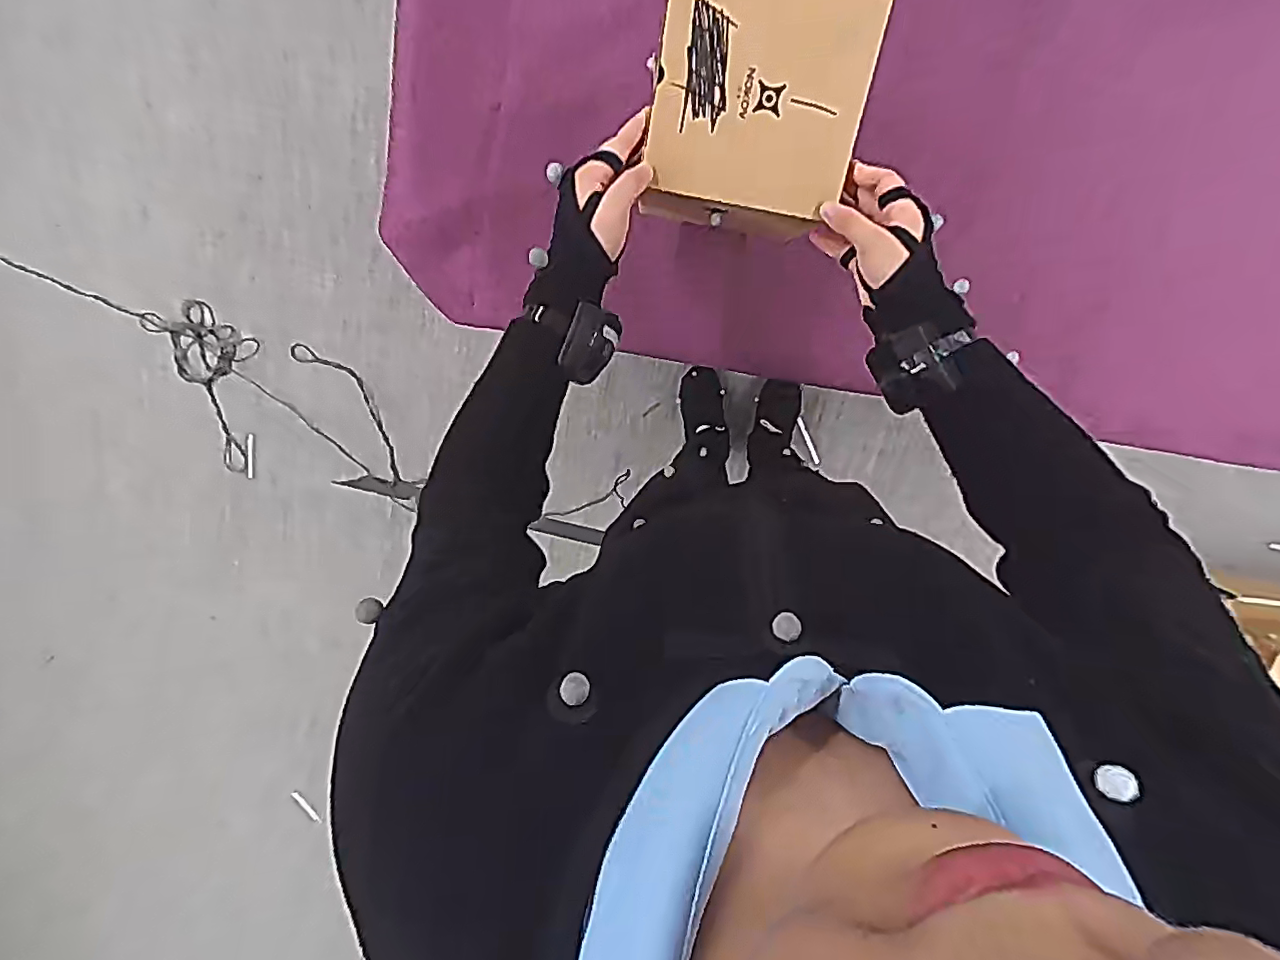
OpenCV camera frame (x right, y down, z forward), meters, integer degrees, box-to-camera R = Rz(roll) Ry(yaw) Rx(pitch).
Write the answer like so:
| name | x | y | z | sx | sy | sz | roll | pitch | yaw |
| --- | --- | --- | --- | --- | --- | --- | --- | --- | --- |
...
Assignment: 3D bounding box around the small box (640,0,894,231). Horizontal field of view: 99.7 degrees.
| name | x | y | z | sx | sy | sz | roll | pitch | yaw |
| --- | --- | --- | --- | --- | --- | --- | --- | --- | --- |
| small box | 0.100 | -0.346 | 0.517 | 0.179 | 0.176 | 0.168 | 10 | 110 | -3 |
